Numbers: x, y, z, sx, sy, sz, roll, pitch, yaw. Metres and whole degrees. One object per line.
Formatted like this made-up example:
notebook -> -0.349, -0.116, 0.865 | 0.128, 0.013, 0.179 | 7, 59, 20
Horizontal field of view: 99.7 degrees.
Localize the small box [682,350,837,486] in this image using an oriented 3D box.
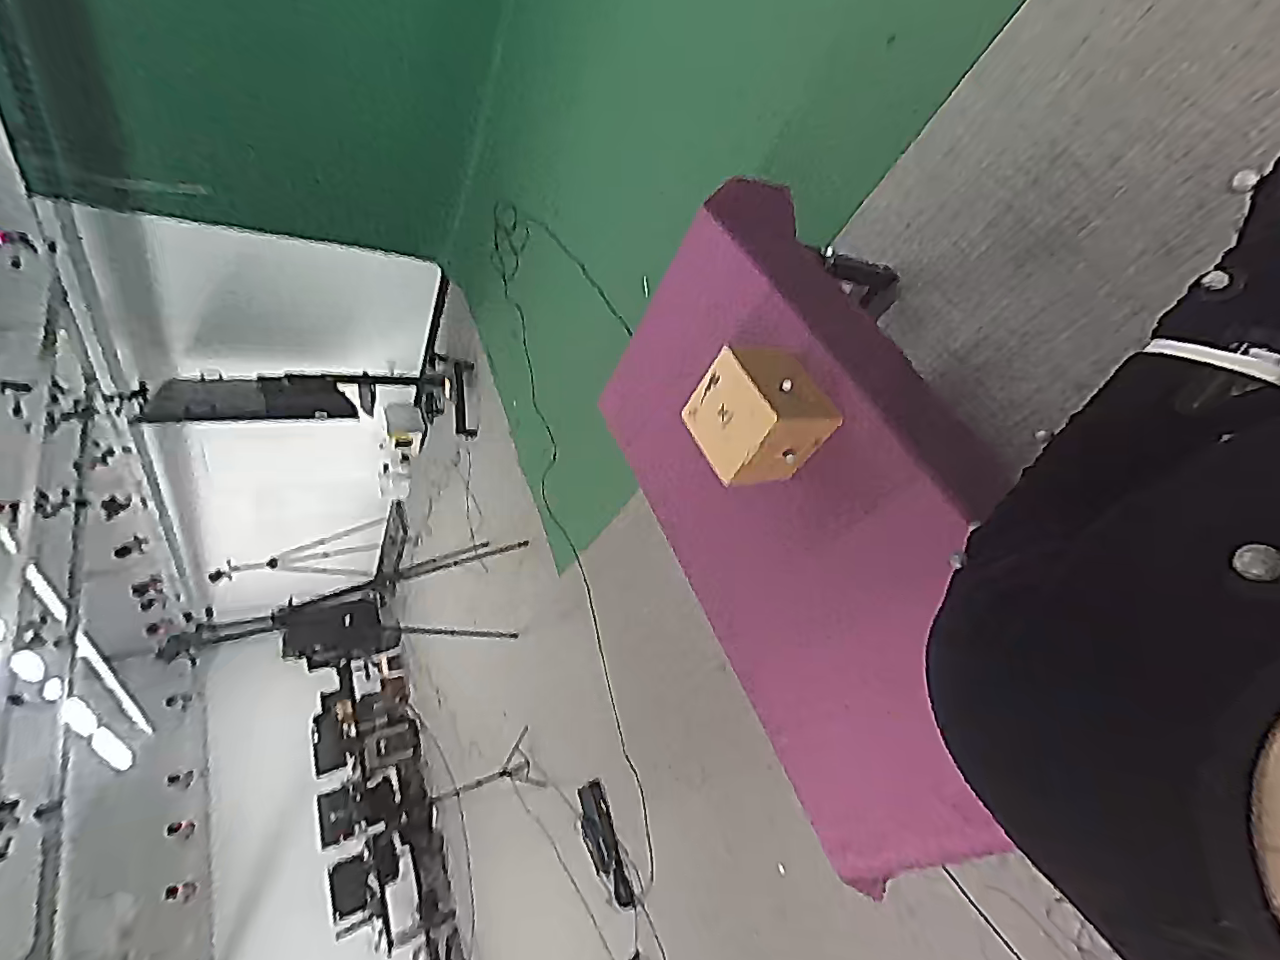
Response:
small box -> 0.212, -0.112, 0.964 | 0.168, 0.176, 0.179 | -56, 51, 41
